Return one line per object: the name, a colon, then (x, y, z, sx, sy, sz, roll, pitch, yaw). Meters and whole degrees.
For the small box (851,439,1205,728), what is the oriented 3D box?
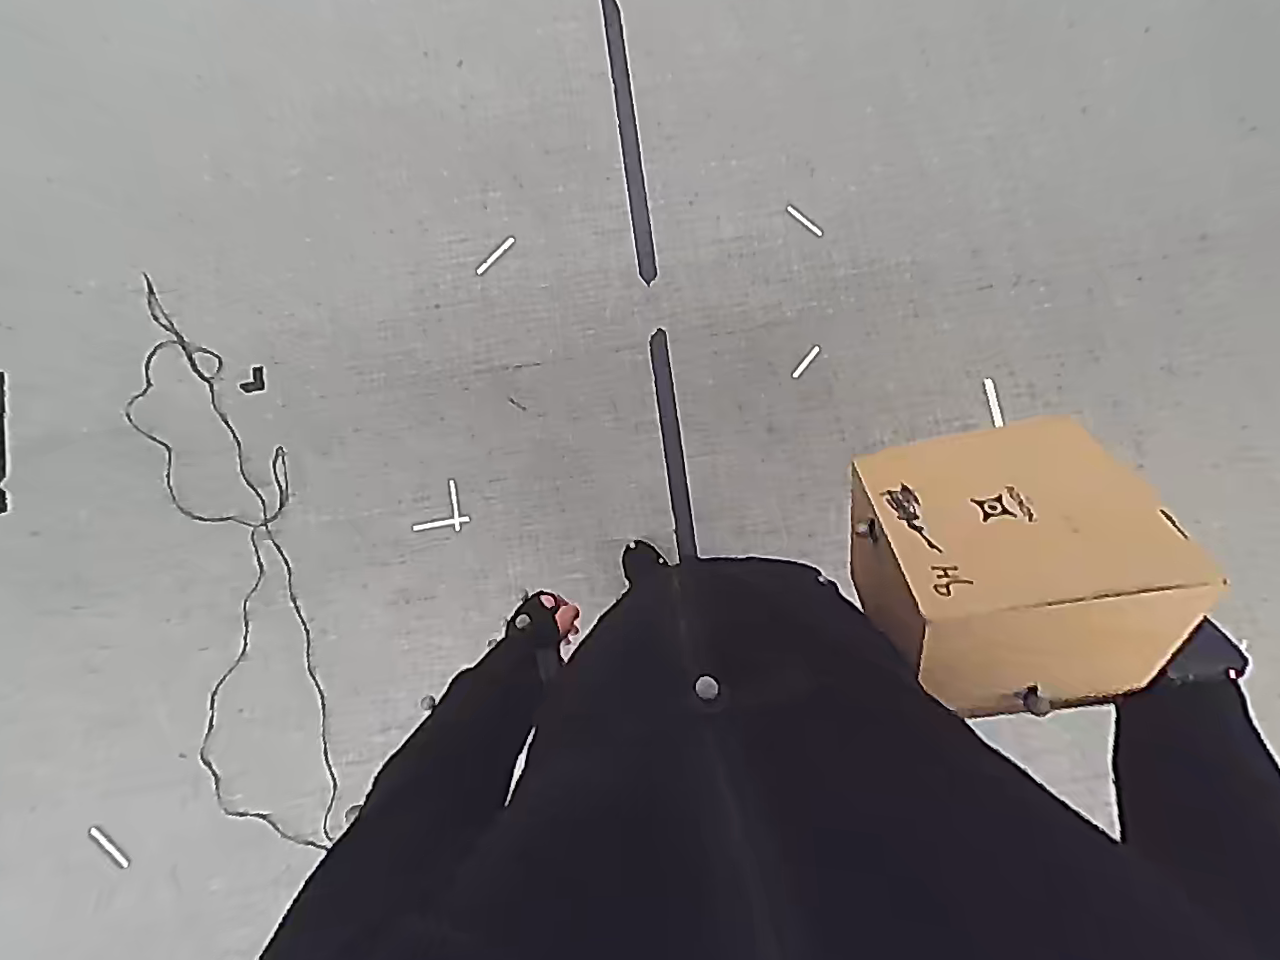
small box: (0.293, 0.093, 0.464, 0.179, 0.176, 0.168, -11, 42, 9)
